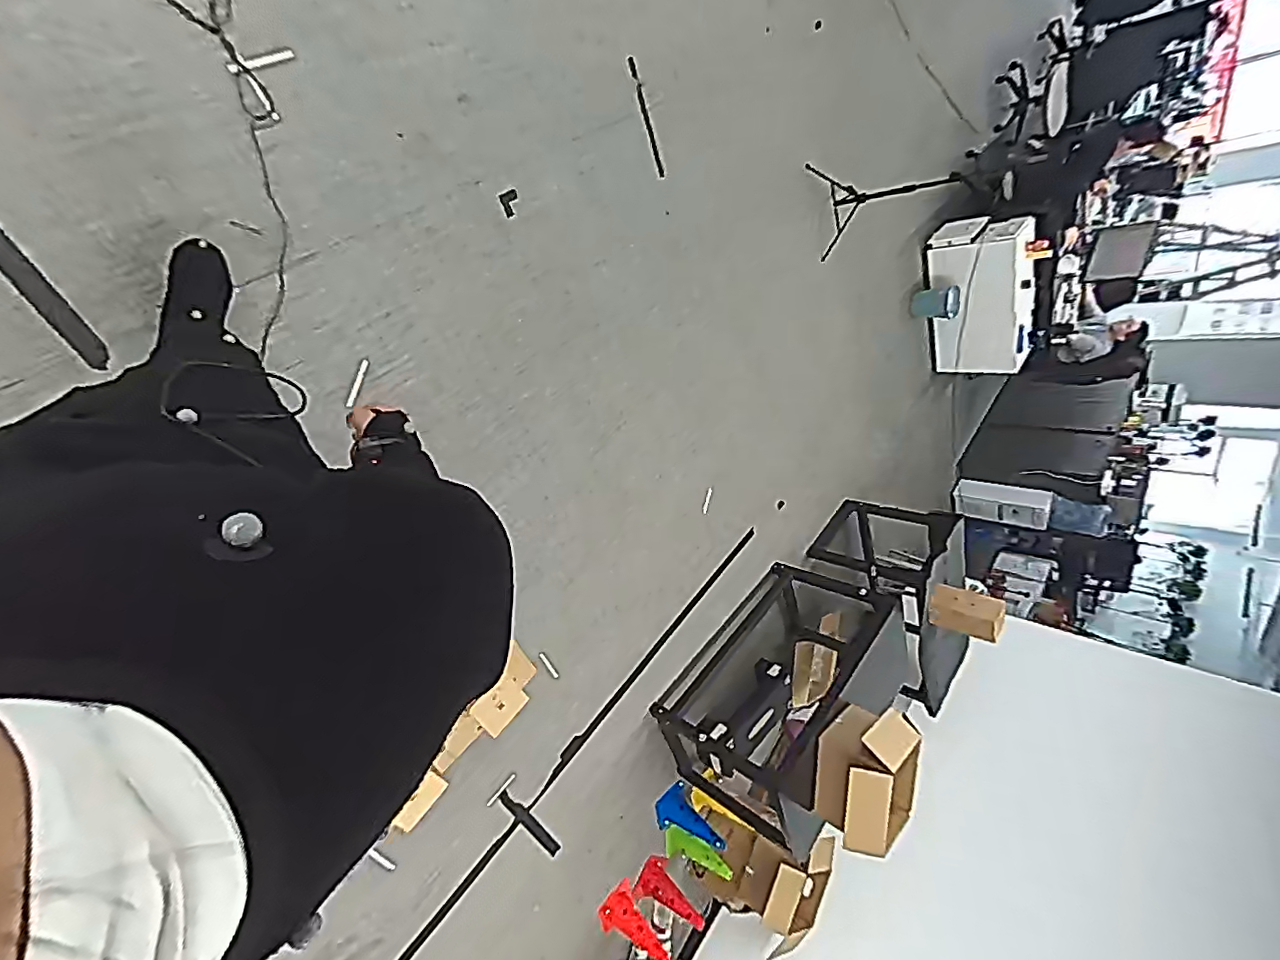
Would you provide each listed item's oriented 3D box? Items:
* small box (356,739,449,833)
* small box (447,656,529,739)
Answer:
[{"bbox_3d":[-0.739,0.942,1.679,0.168,0.176,0.179,-48,128,-26],"label":"small box"},{"bbox_3d":[-0.519,0.733,1.841,0.168,0.176,0.179,-46,127,-29],"label":"small box"}]
